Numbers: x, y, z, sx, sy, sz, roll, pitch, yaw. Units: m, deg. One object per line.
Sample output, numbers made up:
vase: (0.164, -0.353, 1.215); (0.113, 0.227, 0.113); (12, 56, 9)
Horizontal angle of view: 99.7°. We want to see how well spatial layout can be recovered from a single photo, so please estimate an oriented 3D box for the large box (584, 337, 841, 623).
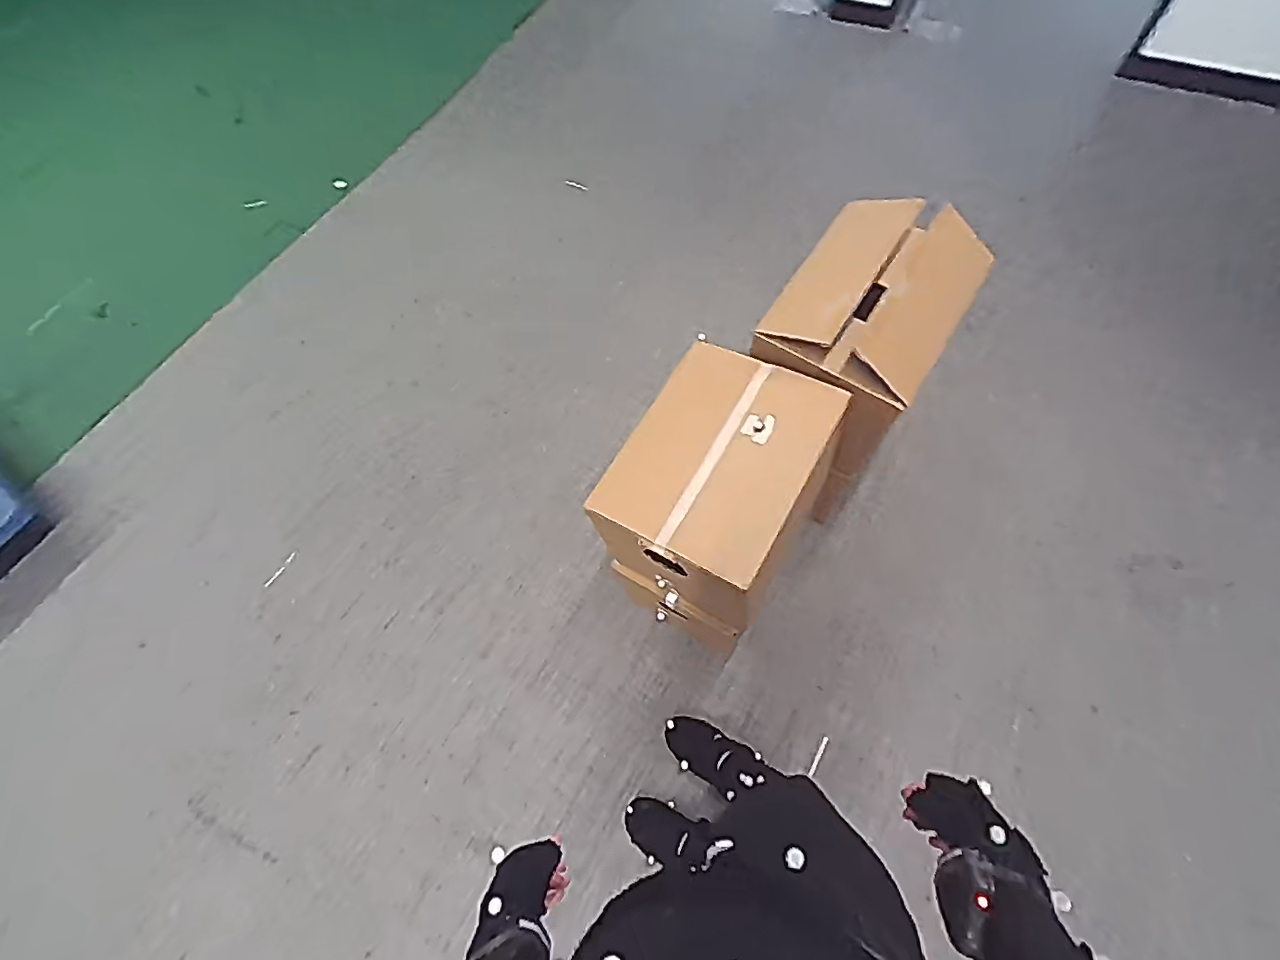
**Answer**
large box: (0.151, 0.006, 1.058); (0.320, 0.320, 0.408); (25, 70, 21)
